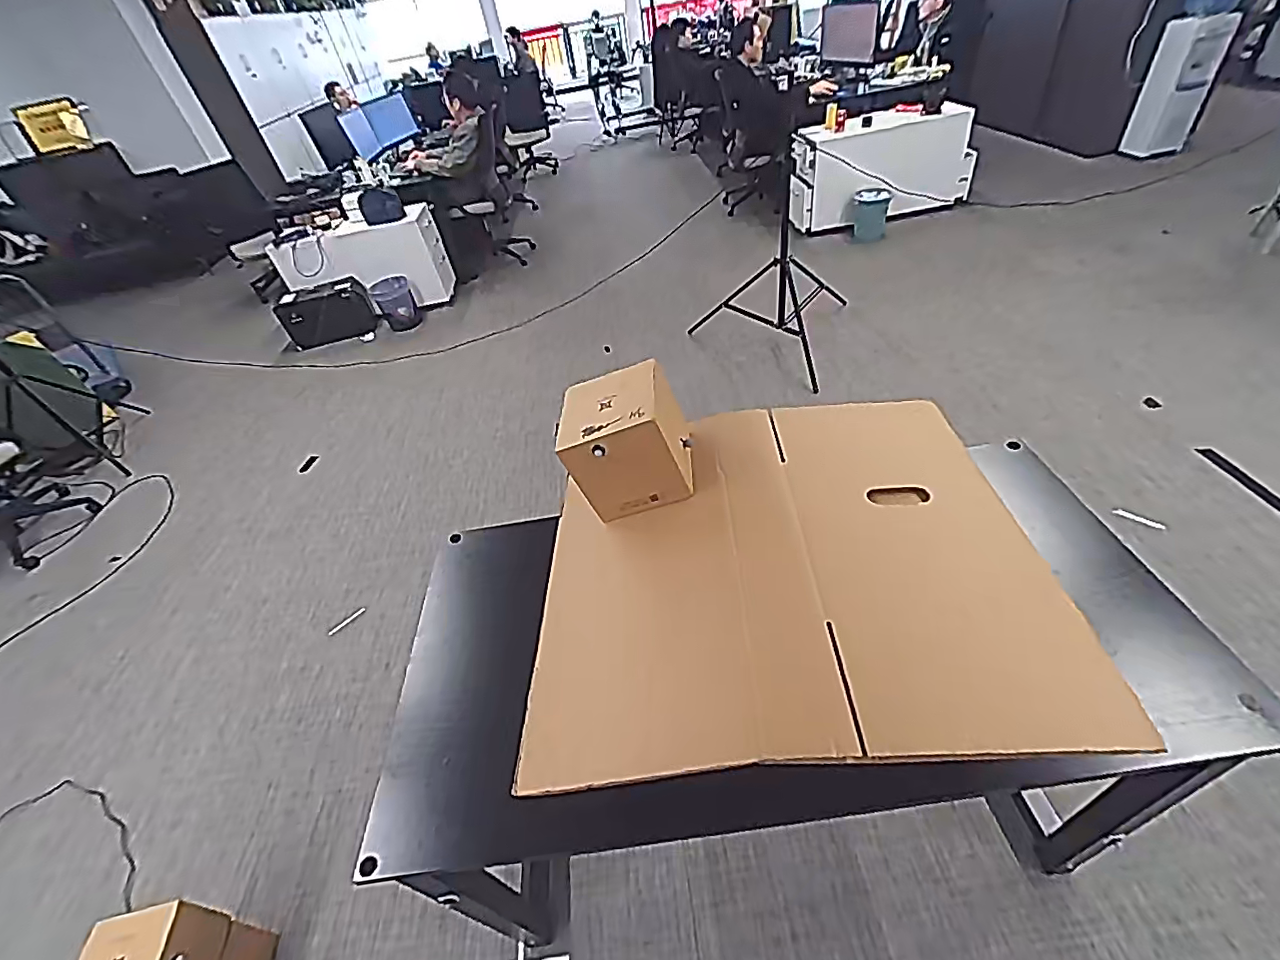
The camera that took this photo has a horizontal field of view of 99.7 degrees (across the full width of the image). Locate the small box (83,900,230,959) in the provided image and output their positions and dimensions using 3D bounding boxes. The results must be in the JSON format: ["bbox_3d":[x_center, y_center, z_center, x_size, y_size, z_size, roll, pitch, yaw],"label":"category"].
[{"bbox_3d":[-0.959,0.967,1.061,0.168,0.176,0.179,-14,41,-4],"label":"small box"}]

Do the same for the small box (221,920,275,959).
[{"bbox_3d":[-0.933,1.089,1.165,0.168,0.176,0.179,-12,43,-1],"label":"small box"}]

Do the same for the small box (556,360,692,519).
[{"bbox_3d":[-0.018,-0.064,0.900,0.168,0.176,0.179,-18,39,16],"label":"small box"}]
